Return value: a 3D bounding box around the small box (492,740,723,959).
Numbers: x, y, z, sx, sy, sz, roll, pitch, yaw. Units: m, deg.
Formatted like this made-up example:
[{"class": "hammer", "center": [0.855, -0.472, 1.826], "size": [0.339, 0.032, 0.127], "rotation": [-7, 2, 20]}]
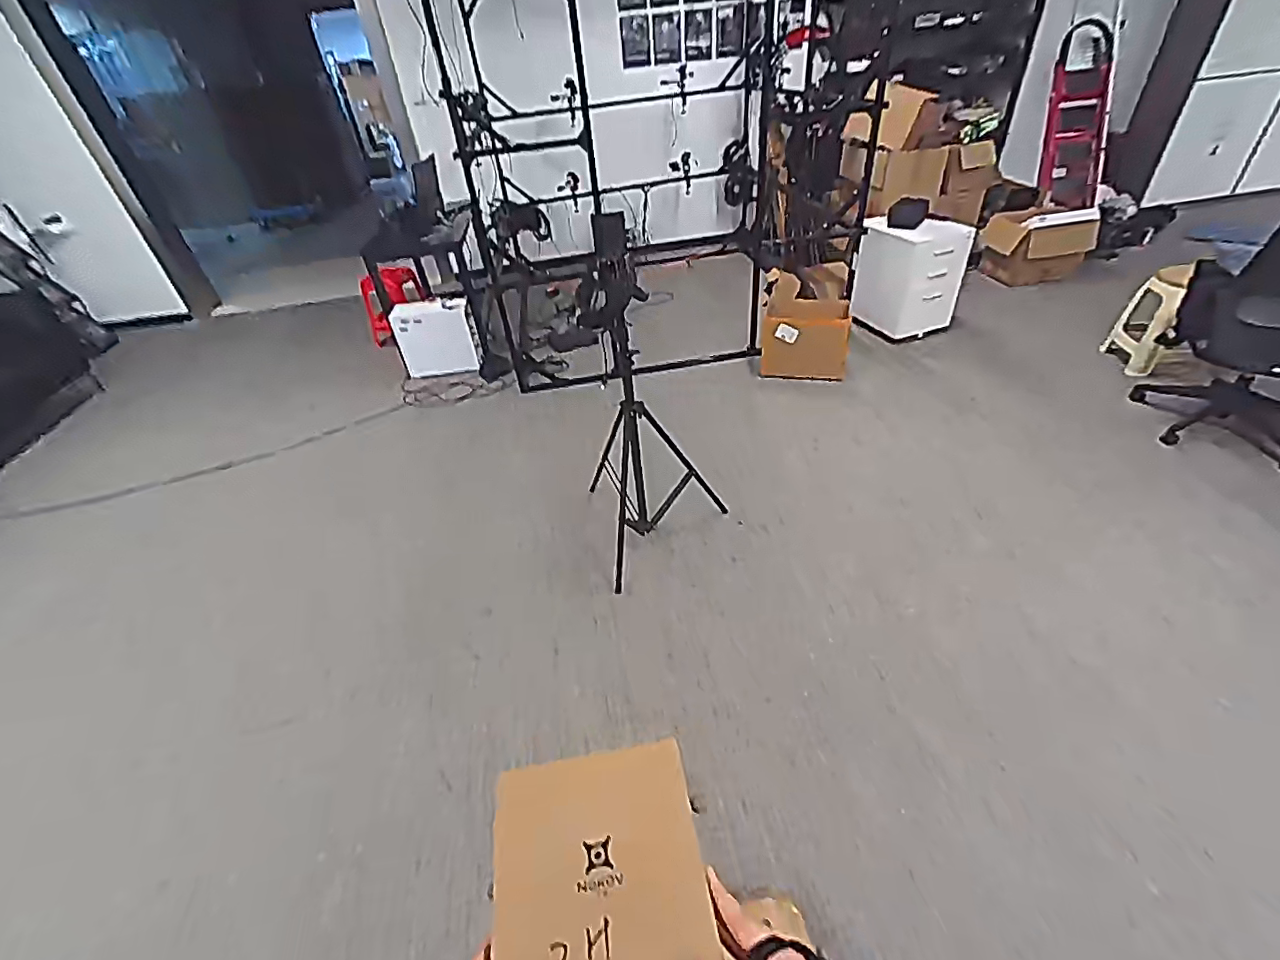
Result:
[{"class": "small box", "center": [-0.027, 0.366, 0.478], "size": [0.168, 0.176, 0.179], "rotation": [-10, 41, -4]}]
